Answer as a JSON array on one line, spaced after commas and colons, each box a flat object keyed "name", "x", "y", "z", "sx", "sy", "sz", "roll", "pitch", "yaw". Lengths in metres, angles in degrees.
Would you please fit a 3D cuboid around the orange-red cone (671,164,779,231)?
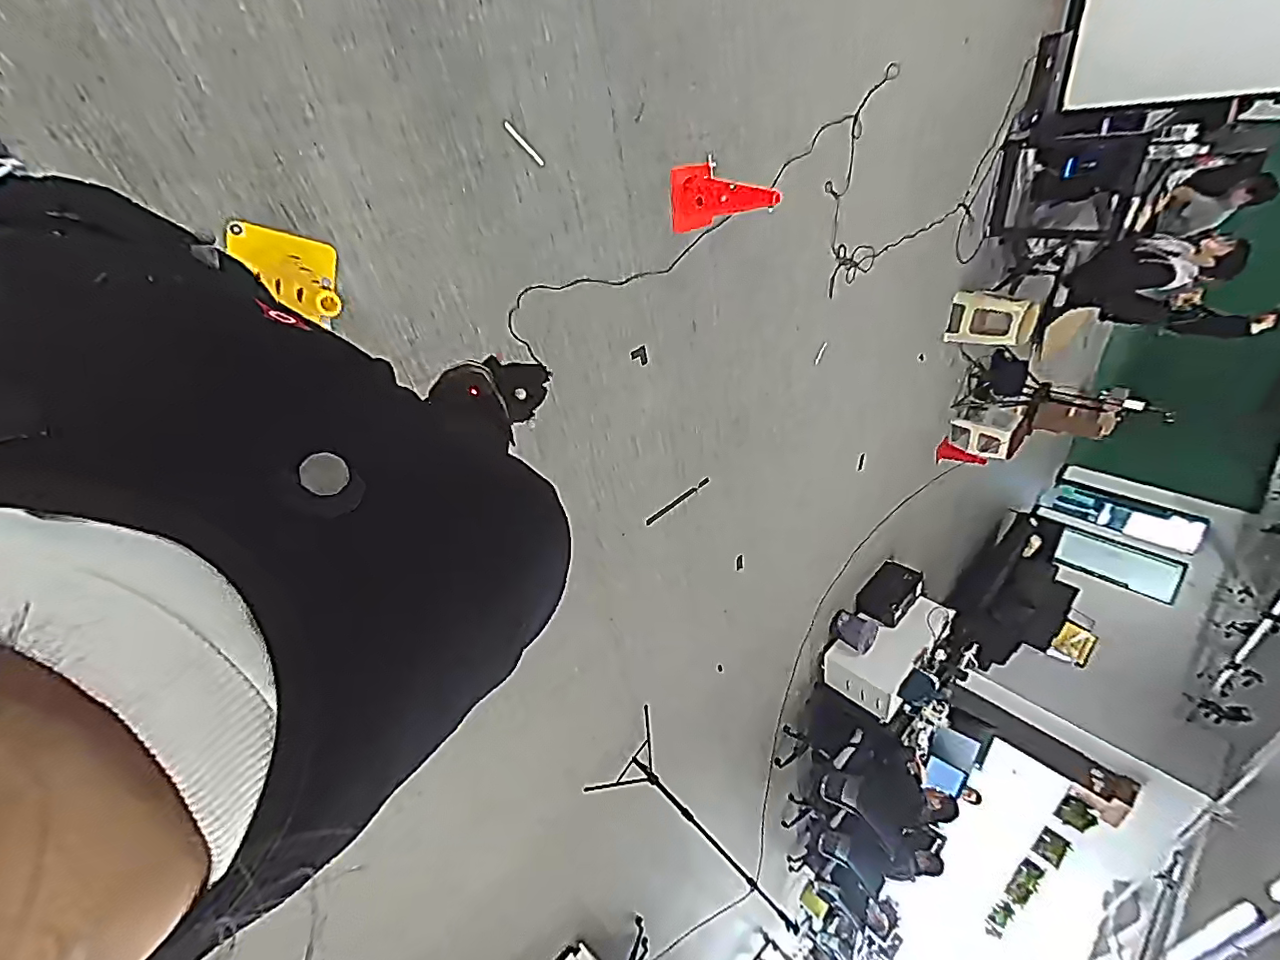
[{"name": "orange-red cone", "x": 0.291, "y": -0.915, "z": 1.744, "sx": 0.199, "sy": 0.360, "sz": 0.198, "roll": -28, "pitch": 127, "yaw": -32}]
